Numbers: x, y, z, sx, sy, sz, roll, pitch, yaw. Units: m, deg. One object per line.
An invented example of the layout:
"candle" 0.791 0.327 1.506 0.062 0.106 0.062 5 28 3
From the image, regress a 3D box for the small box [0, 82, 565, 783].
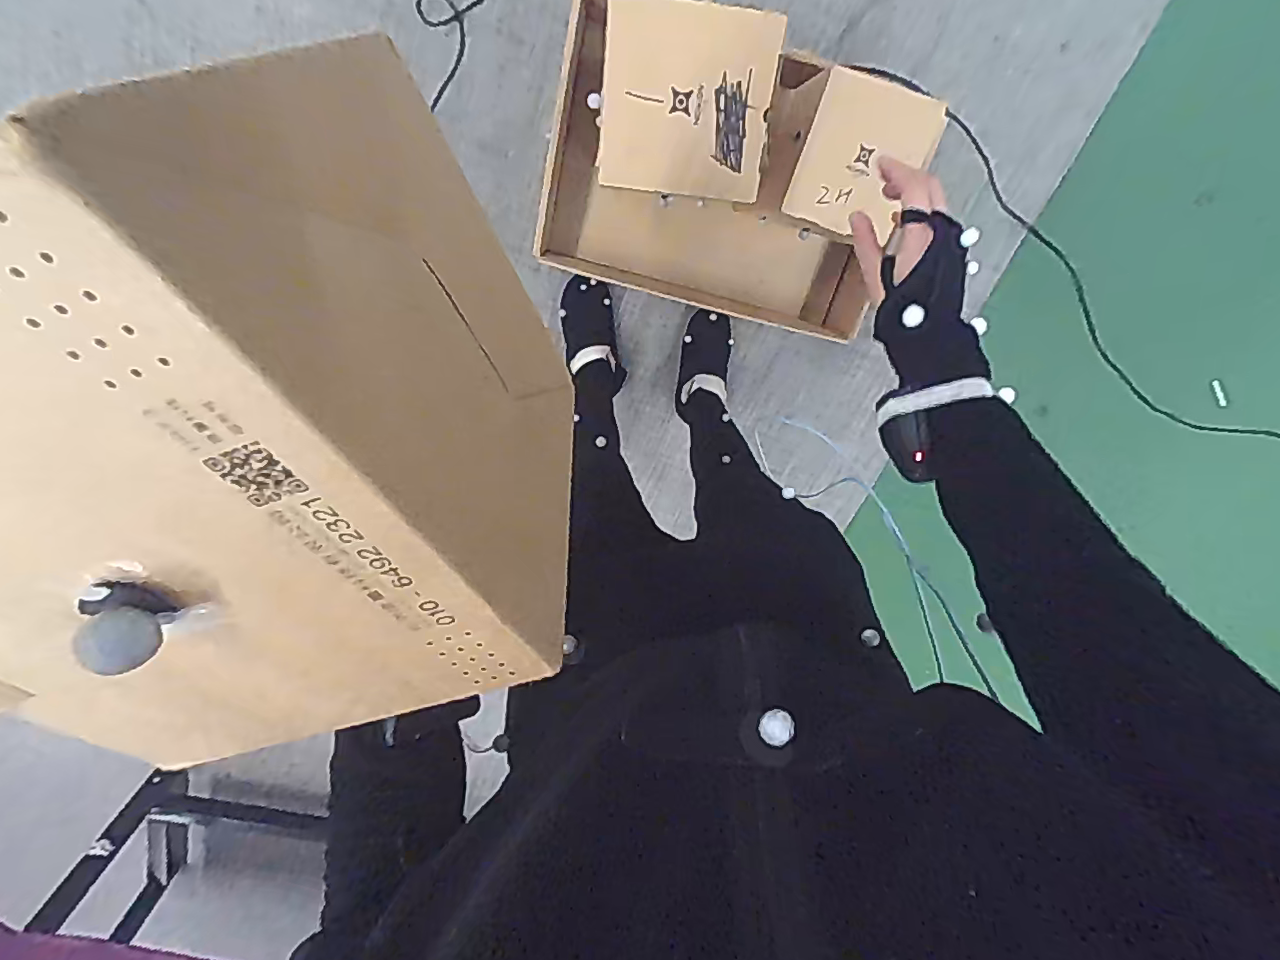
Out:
"small box" -0.139 -0.017 0.205 0.176 0.179 0.168 -17 132 12

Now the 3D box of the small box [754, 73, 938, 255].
"small box" 0.285 -0.452 0.796 0.168 0.176 0.179 14 115 -9

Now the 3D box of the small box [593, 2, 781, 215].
"small box" 0.038 -0.409 0.622 0.179 0.176 0.168 3 117 -6
